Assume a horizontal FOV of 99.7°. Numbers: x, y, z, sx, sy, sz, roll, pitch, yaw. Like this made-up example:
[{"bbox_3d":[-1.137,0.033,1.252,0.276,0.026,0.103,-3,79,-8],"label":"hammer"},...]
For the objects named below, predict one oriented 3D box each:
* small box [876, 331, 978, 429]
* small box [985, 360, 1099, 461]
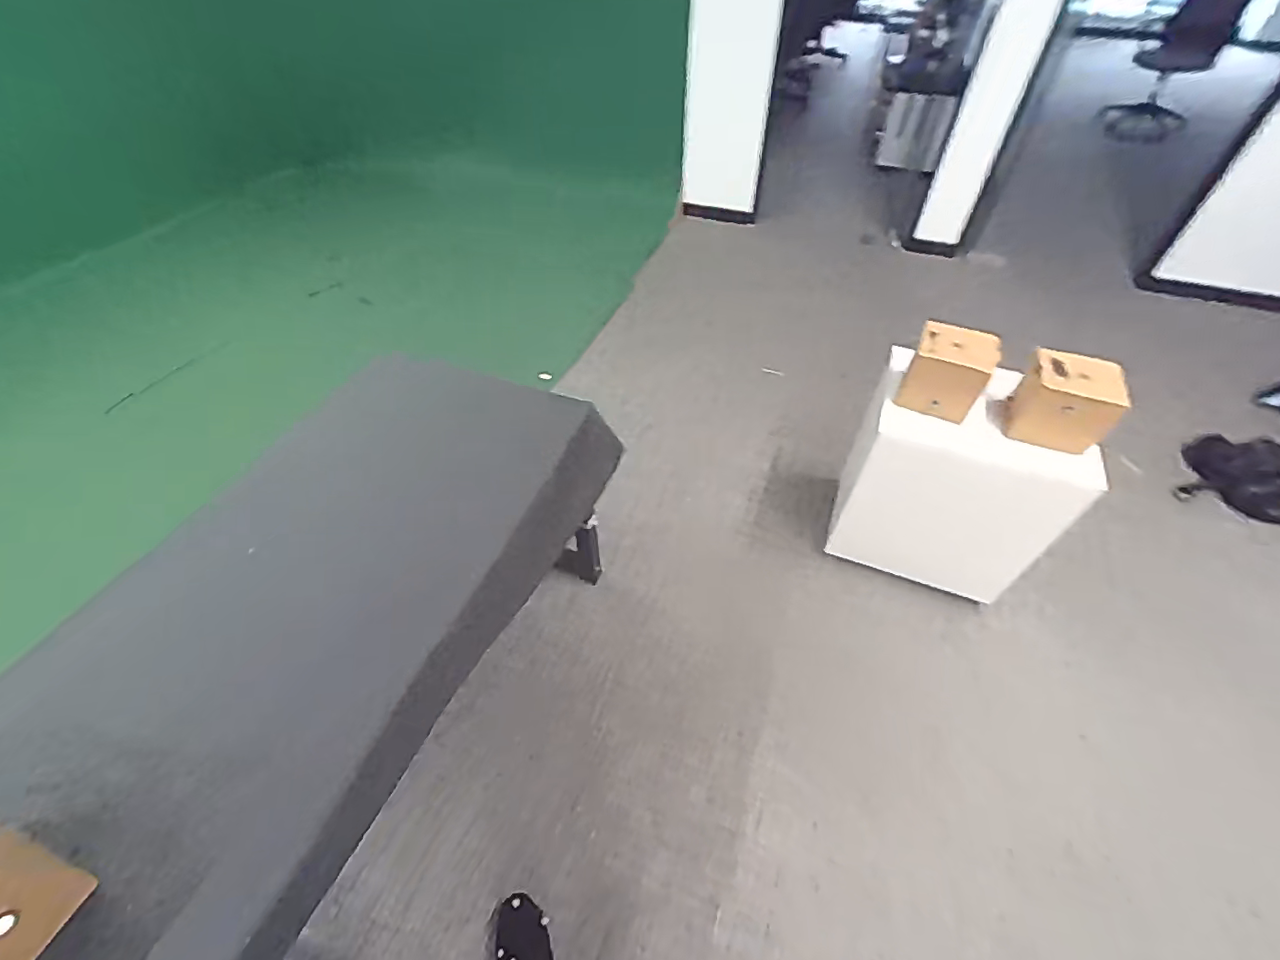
[{"bbox_3d":[0.754,-0.260,1.427,0.179,0.176,0.168,22,50,14],"label":"small box"},{"bbox_3d":[0.996,-0.172,1.362,0.179,0.176,0.168,18,50,12],"label":"small box"}]
